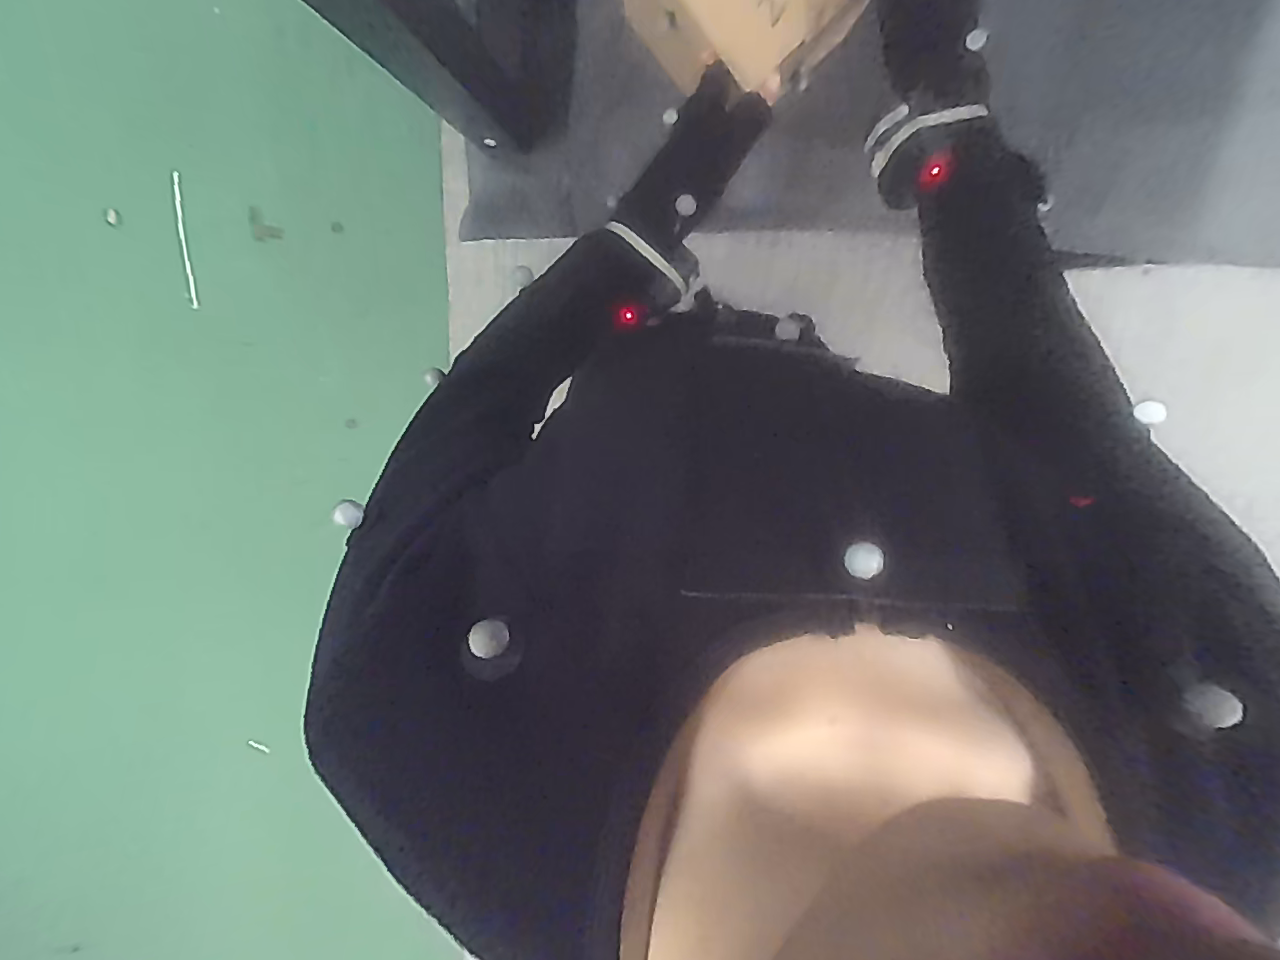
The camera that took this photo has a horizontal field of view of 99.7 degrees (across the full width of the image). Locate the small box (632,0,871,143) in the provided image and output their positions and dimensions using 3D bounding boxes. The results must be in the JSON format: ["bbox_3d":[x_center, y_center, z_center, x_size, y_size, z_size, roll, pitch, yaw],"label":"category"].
[{"bbox_3d":[0.099,-0.465,0.507,0.168,0.176,0.179,-37,103,12],"label":"small box"}]

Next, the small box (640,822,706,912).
[{"bbox_3d":[0.109,1.310,1.841,0.179,0.176,0.168,19,107,-3],"label":"small box"}]
